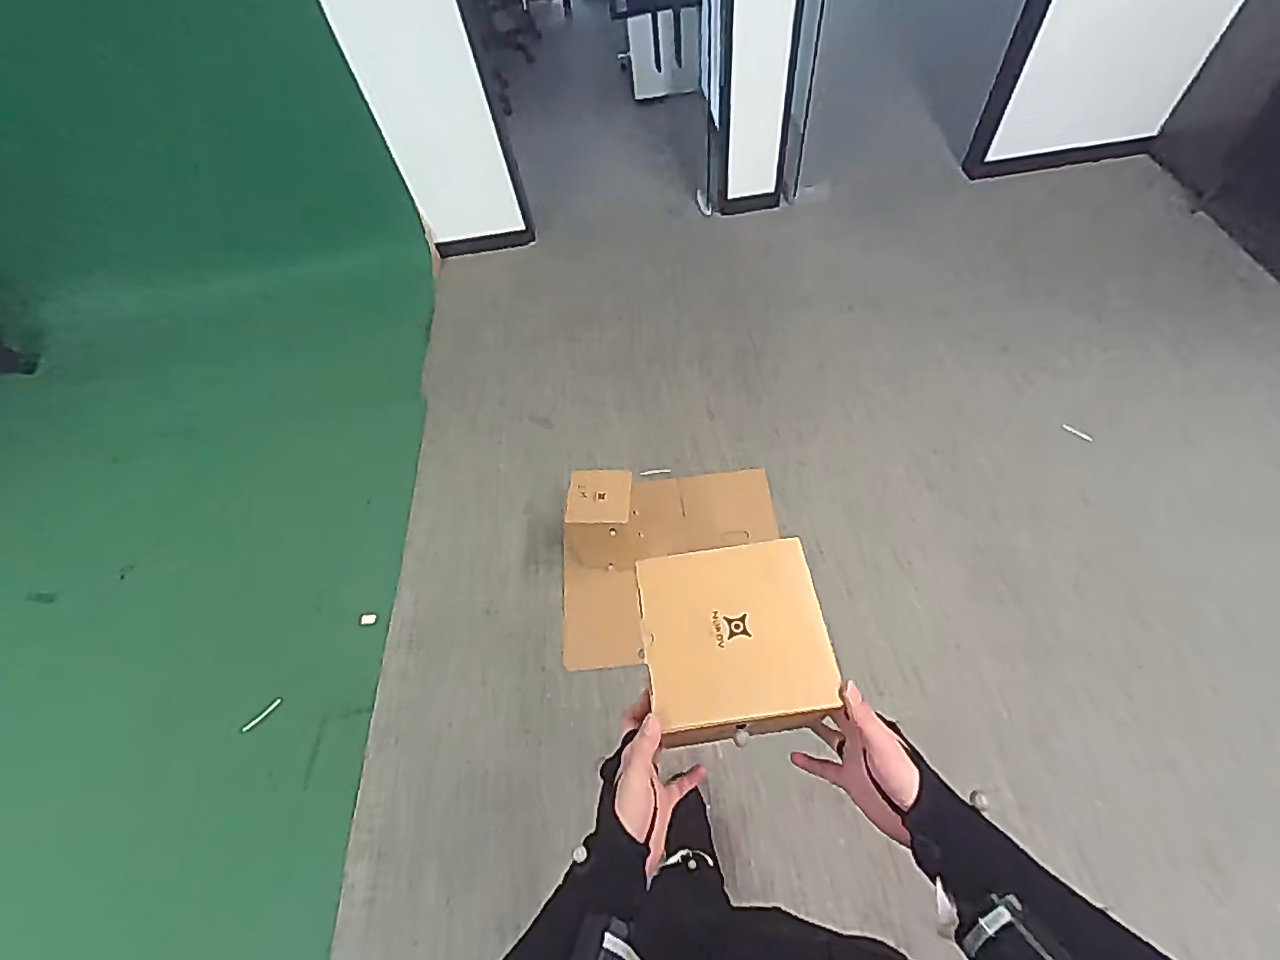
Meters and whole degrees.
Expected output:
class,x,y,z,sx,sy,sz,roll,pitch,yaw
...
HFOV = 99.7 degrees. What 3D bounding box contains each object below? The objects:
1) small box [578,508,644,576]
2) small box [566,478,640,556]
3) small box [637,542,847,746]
class,x,y,z,sx,sy,sz,roll,pitch,yaw
small box,-0.083,0.190,1.670,0.179,0.176,0.168,0,57,7
small box,-0.097,0.107,1.527,0.179,0.176,0.168,0,57,7
small box,0.097,0.184,0.588,0.179,0.176,0.168,-9,59,1
